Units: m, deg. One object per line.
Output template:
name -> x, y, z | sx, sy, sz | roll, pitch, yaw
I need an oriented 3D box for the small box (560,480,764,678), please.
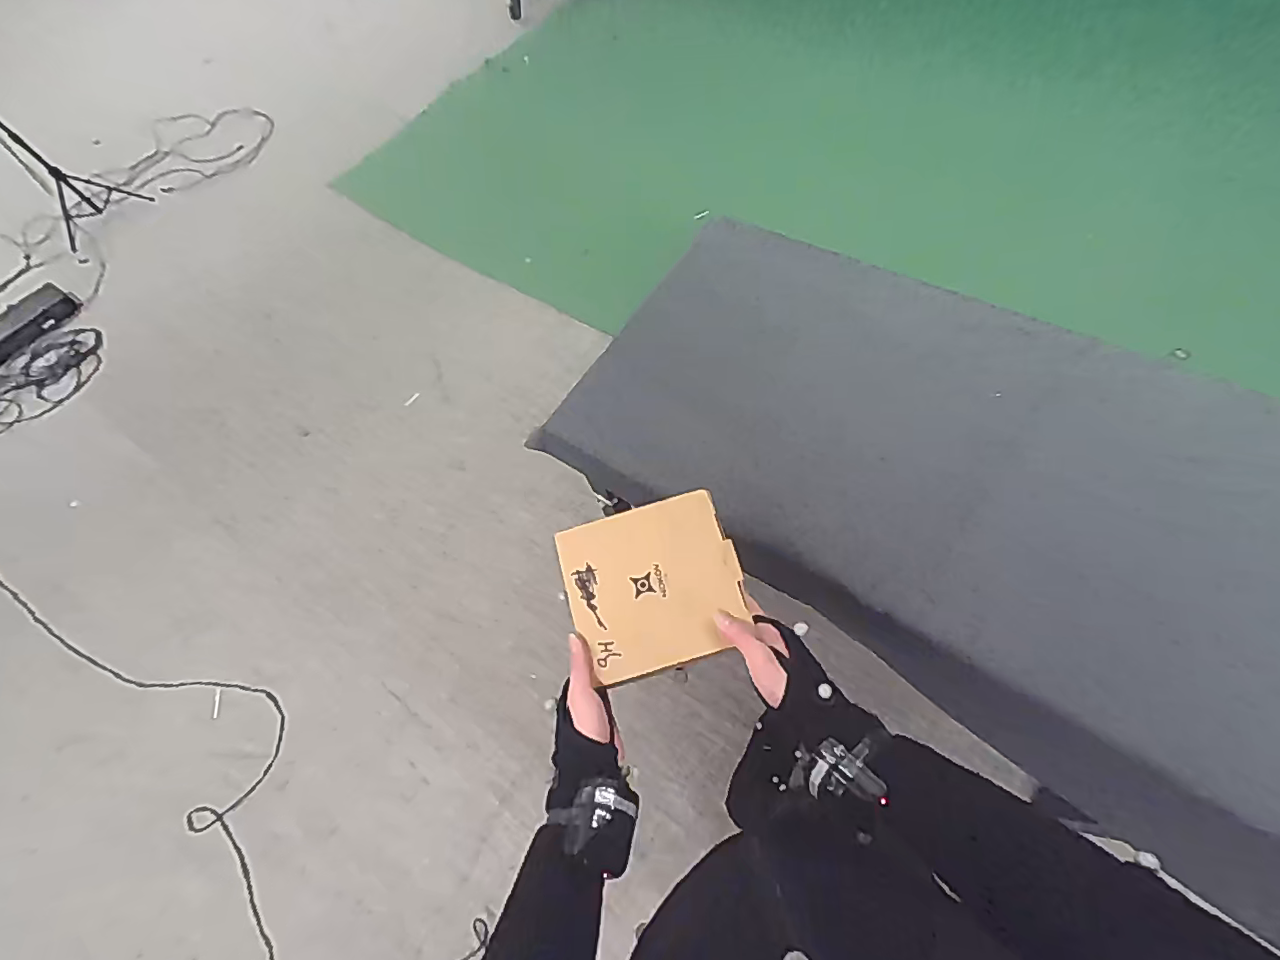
small box -> 0.020, 0.121, 0.616 | 0.179, 0.176, 0.168 | -14, 68, -2
